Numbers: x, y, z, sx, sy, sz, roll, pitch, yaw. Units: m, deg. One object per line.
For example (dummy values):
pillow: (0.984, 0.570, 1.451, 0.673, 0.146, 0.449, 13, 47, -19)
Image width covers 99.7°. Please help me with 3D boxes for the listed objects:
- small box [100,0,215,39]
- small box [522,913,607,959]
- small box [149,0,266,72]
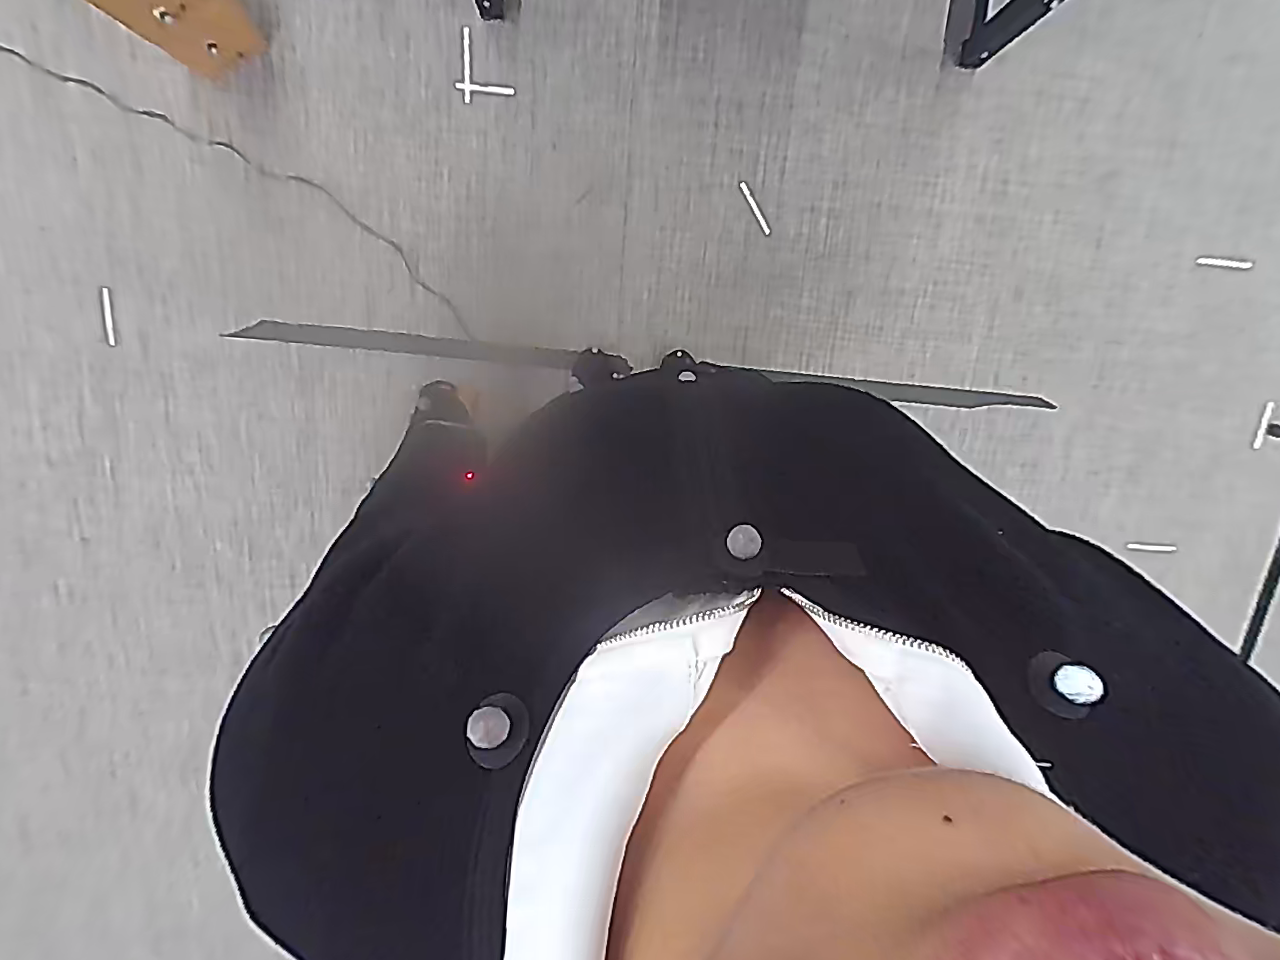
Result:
small box: (-0.942, -0.970, 0.982, 0.168, 0.176, 0.179, -32, 104, 6)
small box: (-0.166, 1.099, 1.187, 0.179, 0.176, 0.168, -4, 100, -1)
small box: (-0.948, -1.010, 1.140, 0.168, 0.176, 0.179, -28, 103, 3)
